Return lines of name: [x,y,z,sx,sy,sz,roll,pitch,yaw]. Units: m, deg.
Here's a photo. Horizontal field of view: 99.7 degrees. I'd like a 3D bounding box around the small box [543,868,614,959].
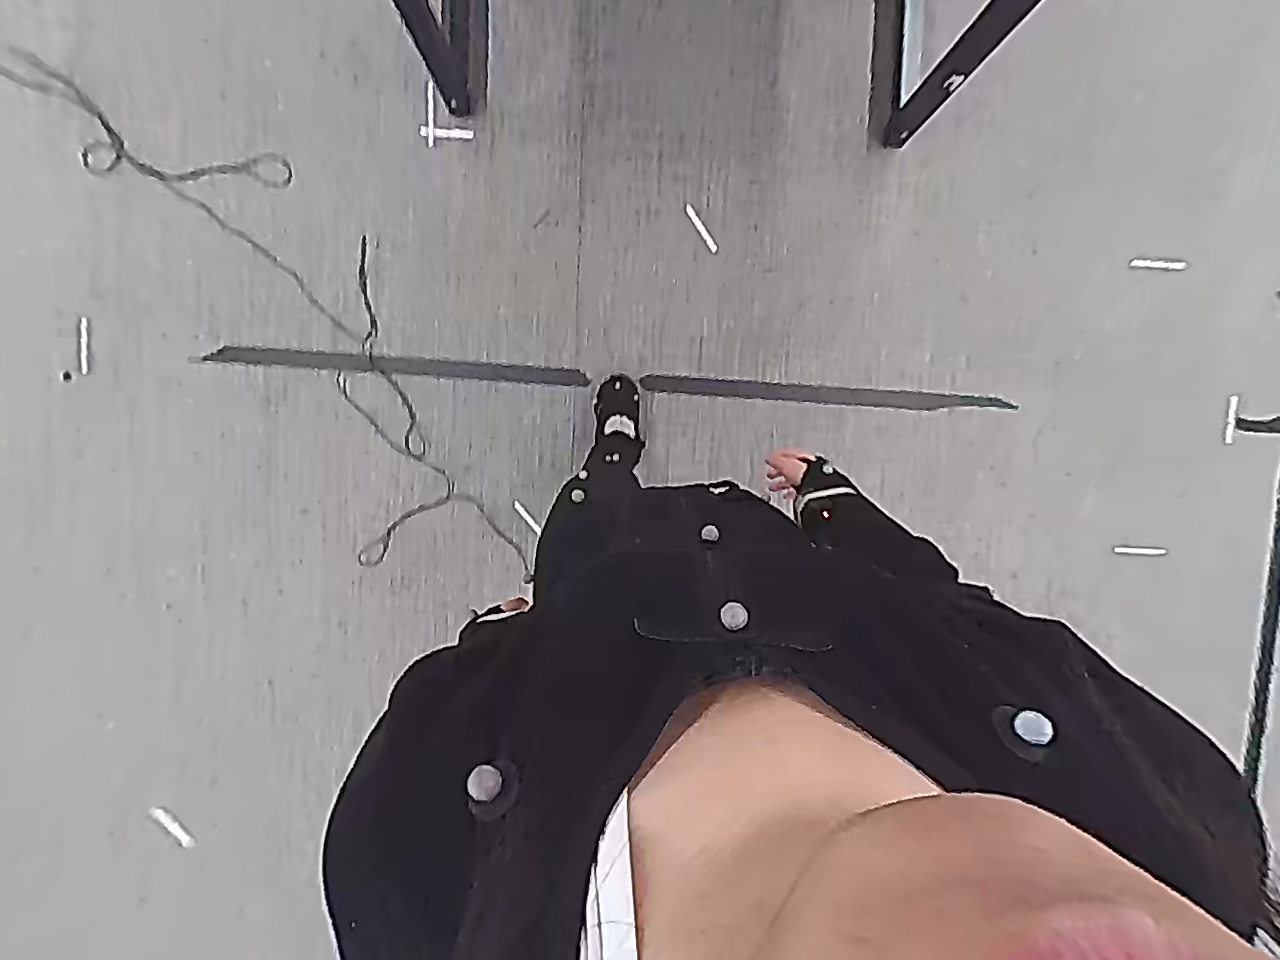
small box: [-0.159,1.190,1.446,0.168,0.176,0.179,-7,94,-3]
